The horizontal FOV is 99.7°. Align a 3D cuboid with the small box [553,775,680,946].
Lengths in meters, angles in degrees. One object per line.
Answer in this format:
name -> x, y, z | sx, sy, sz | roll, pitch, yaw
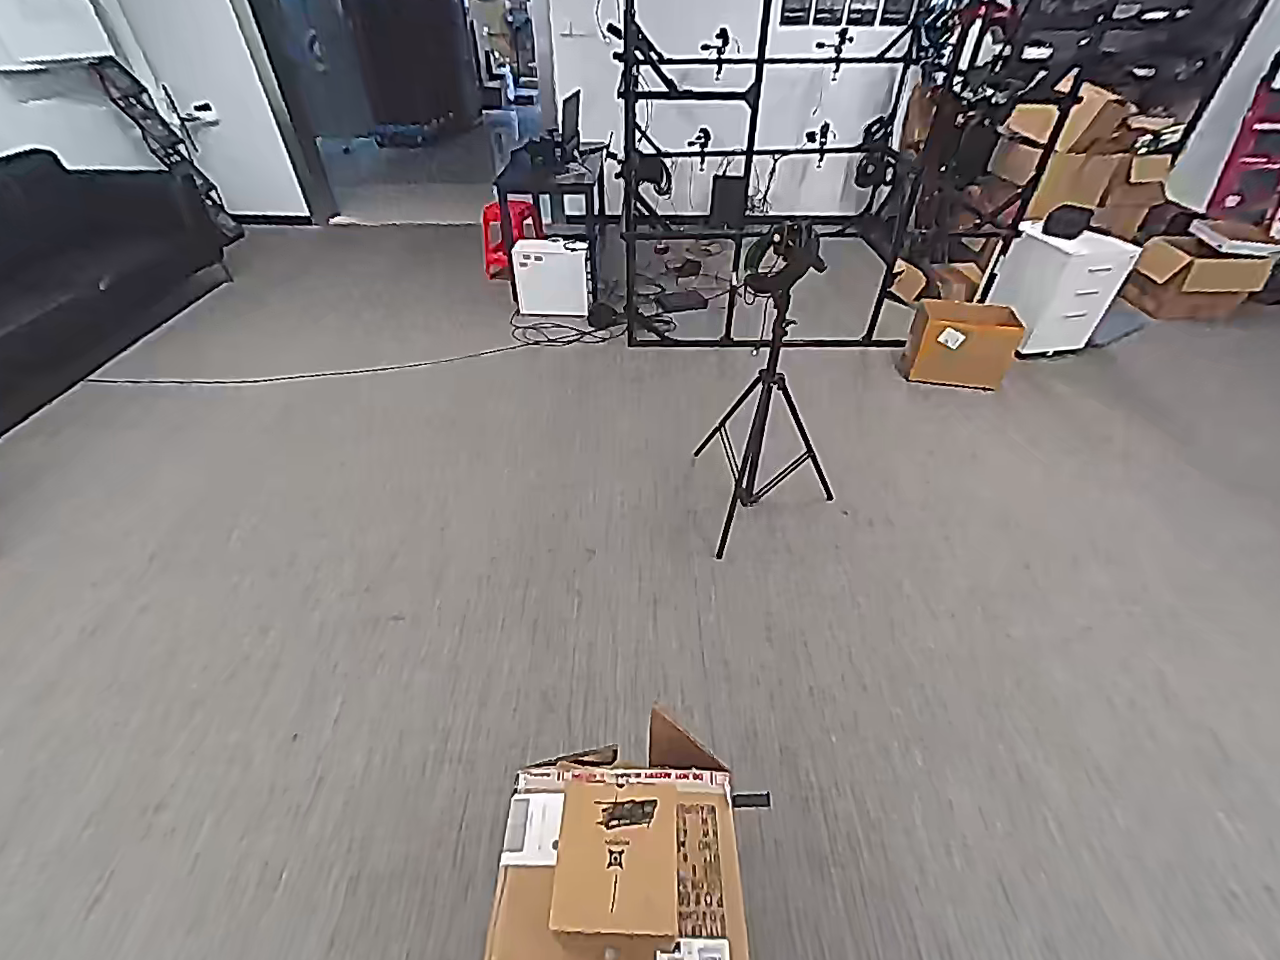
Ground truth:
small box -> -0.028, 0.562, 0.800 | 0.168, 0.176, 0.179 | 1, 44, 1
